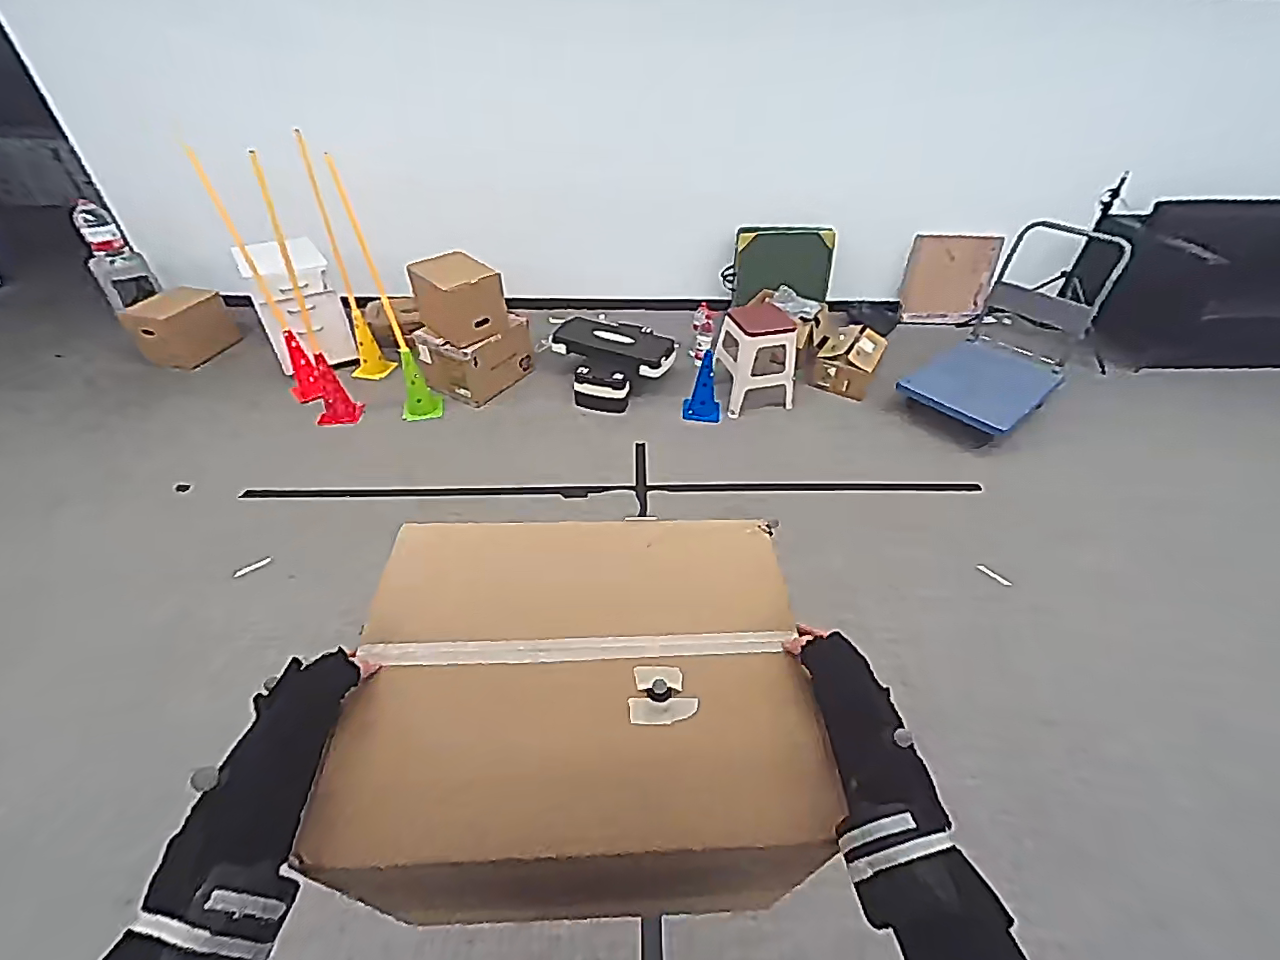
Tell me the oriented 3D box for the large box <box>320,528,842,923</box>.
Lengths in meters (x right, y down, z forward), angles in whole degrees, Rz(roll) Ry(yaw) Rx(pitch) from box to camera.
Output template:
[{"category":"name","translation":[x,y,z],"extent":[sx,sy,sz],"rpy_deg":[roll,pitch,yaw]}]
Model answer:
[{"category":"large box","translation":[-0.053,0.272,0.614],"extent":[0.408,0.320,0.320],"rpy_deg":[0,45,-3]}]
